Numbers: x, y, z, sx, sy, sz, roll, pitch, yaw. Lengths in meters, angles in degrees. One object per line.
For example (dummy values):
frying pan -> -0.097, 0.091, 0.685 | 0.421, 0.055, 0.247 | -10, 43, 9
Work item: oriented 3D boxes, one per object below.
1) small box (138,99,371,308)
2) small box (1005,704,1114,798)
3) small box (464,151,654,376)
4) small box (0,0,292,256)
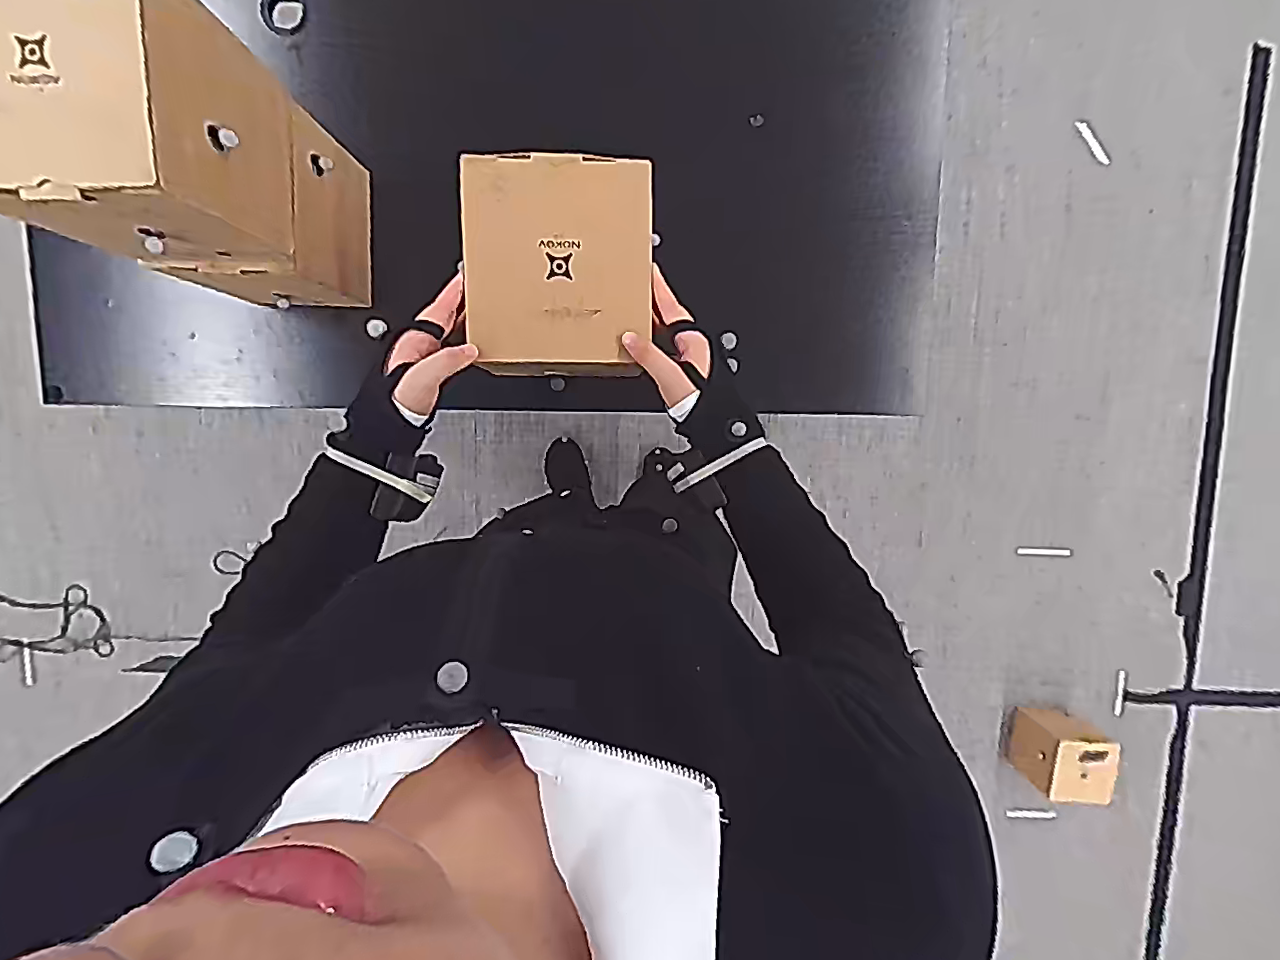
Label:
small box -> -0.436, -0.313, 0.635 | 0.168, 0.176, 0.179 | 2, 96, -1
small box -> 1.165, 0.751, 1.514 | 0.168, 0.176, 0.179 | 4, 97, -1
small box -> -0.076, -0.202, 0.553 | 0.168, 0.176, 0.179 | -1, 97, -4
small box -> -0.435, -0.305, 0.471 | 0.168, 0.176, 0.179 | -1, 97, -1
